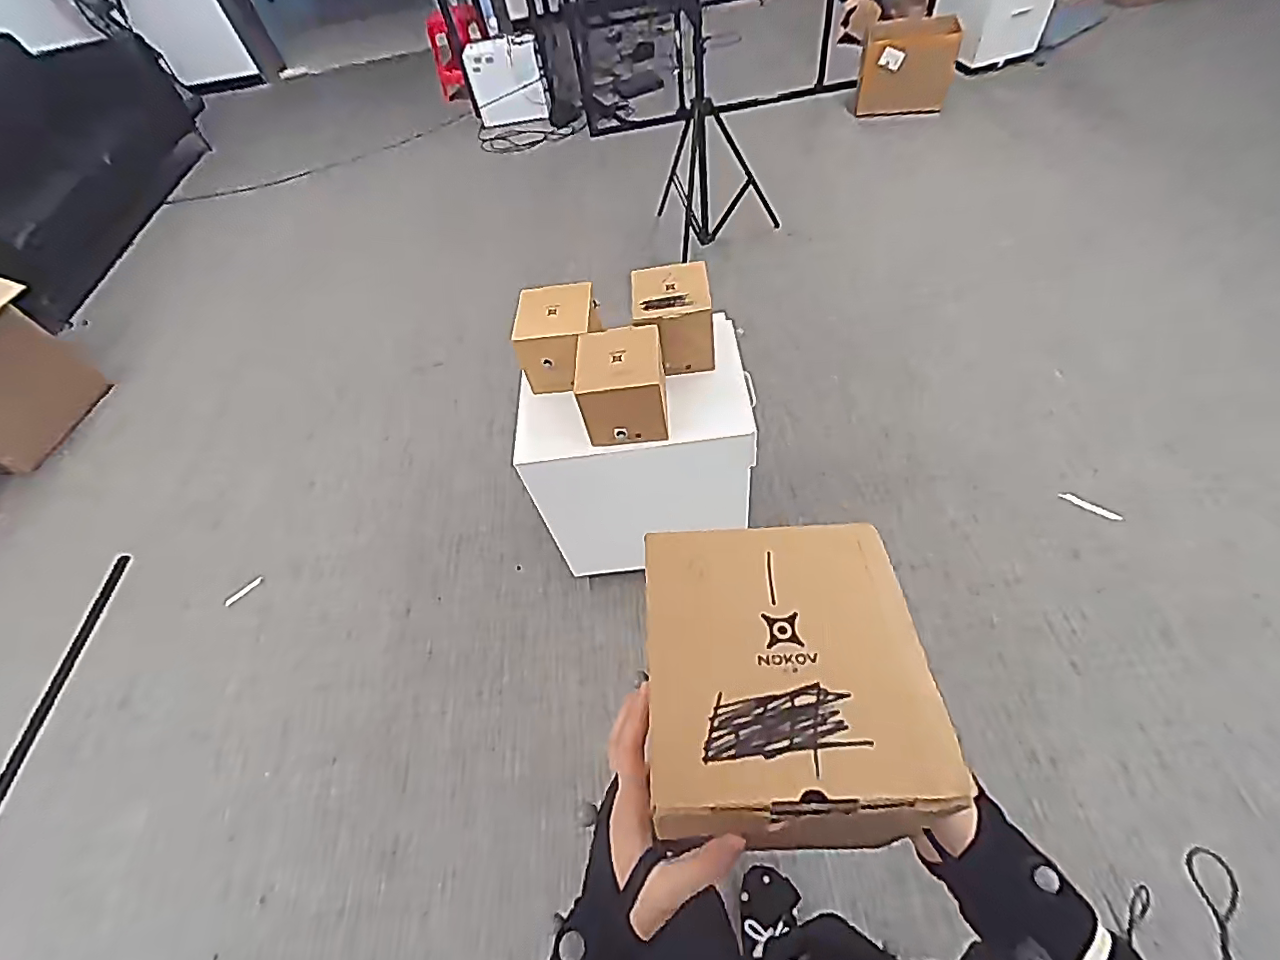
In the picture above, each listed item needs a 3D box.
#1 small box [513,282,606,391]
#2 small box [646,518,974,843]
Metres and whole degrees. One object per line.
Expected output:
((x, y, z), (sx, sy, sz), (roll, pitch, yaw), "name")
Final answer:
((-0.174, -0.318, 1.229), (0.168, 0.176, 0.179), (-5, 54, 6), "small box")
((0.092, 0.148, 0.388), (0.168, 0.176, 0.179), (-3, 49, 1), "small box")
